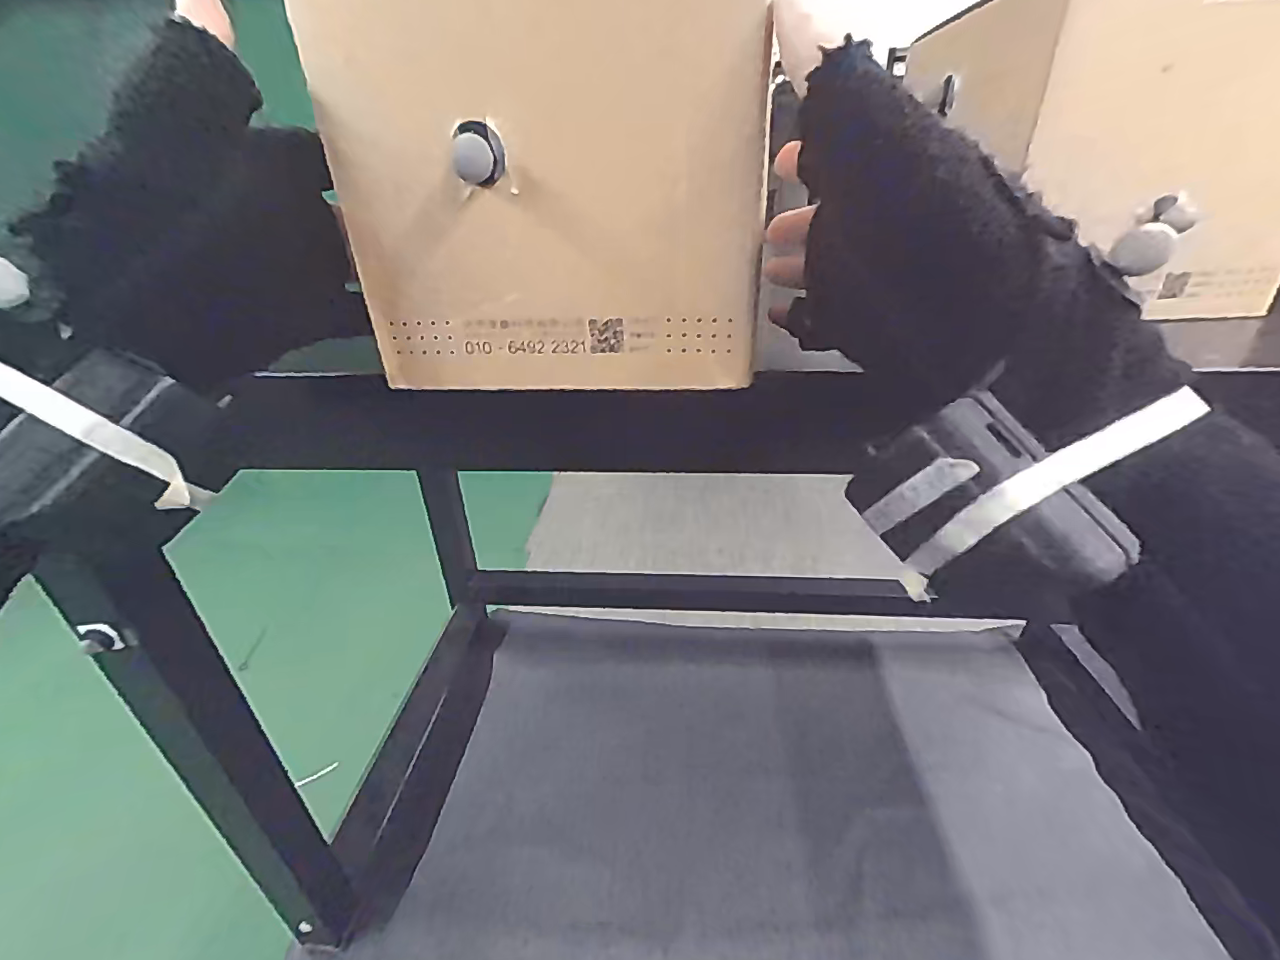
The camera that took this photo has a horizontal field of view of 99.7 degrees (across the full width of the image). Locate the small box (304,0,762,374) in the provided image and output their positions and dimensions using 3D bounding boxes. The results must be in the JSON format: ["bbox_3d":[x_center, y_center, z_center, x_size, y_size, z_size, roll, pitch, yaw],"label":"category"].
[{"bbox_3d":[-0.028,-0.158,0.284,0.168,0.176,0.179,1,27,5],"label":"small box"}]
